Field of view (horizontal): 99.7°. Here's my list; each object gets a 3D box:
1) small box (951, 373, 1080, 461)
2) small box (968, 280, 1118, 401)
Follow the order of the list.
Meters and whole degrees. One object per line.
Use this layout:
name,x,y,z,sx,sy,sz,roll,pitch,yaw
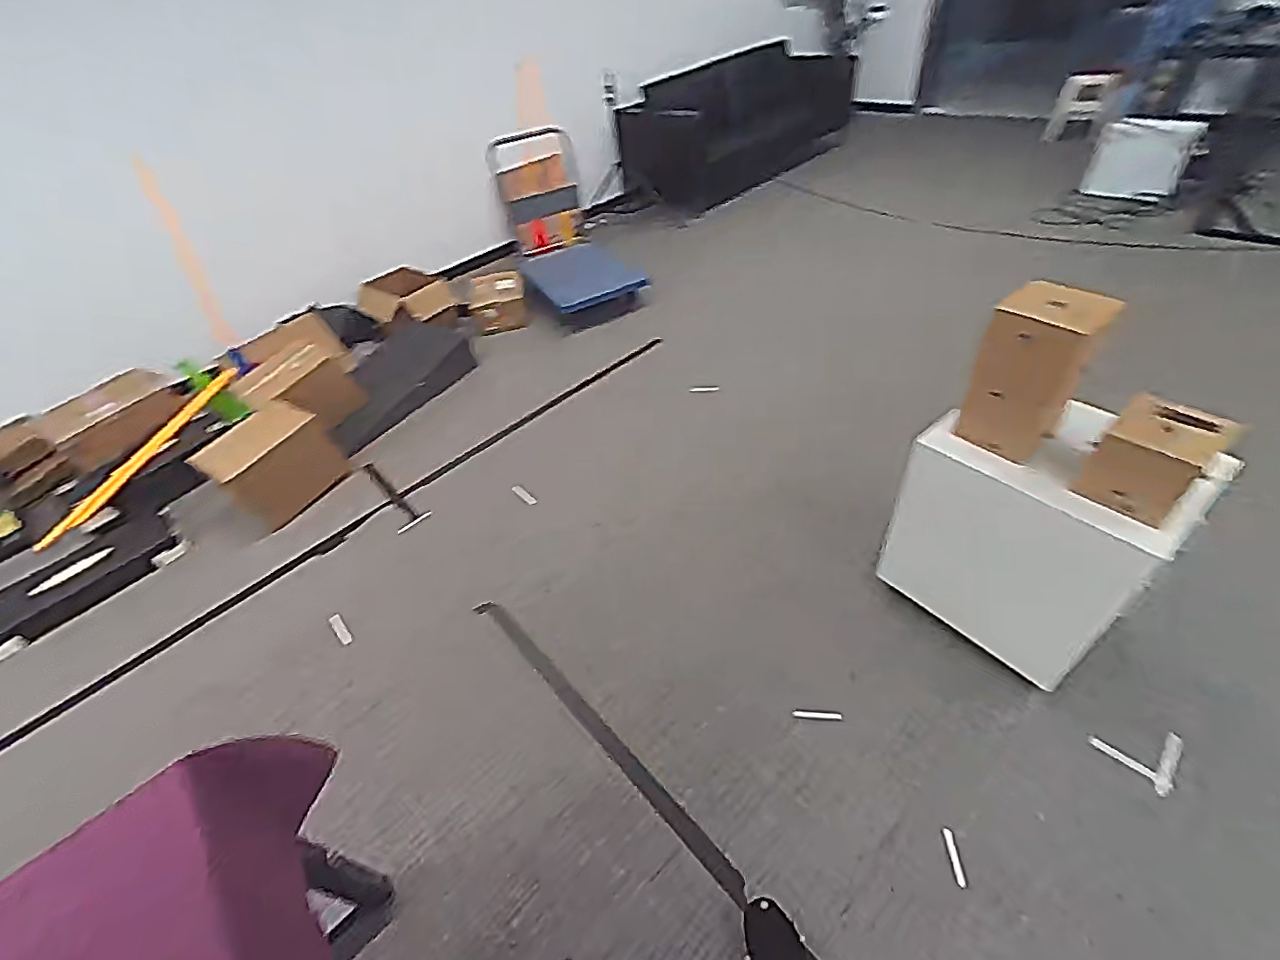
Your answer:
small box,0.859,-0.177,1.256,0.179,0.176,0.168,-31,47,-23
small box,0.836,-0.294,1.141,0.168,0.176,0.179,-33,49,-22
